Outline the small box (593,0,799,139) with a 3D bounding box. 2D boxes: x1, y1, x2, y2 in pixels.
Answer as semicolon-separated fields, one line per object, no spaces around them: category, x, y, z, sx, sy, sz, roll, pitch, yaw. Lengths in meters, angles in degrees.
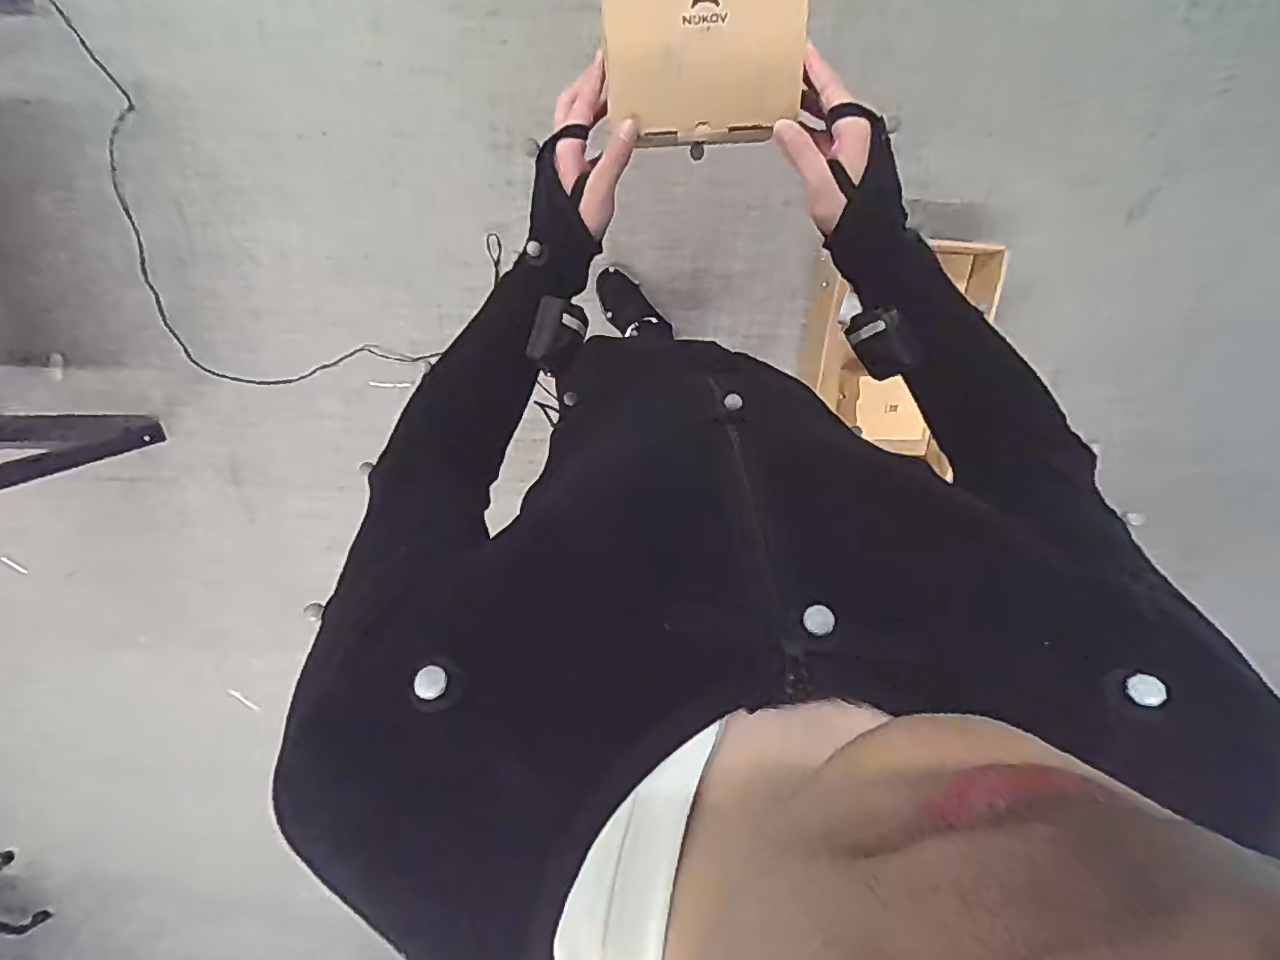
small box;0.049;-0.419;0.496;0.168;0.176;0.179;-1;120;4
